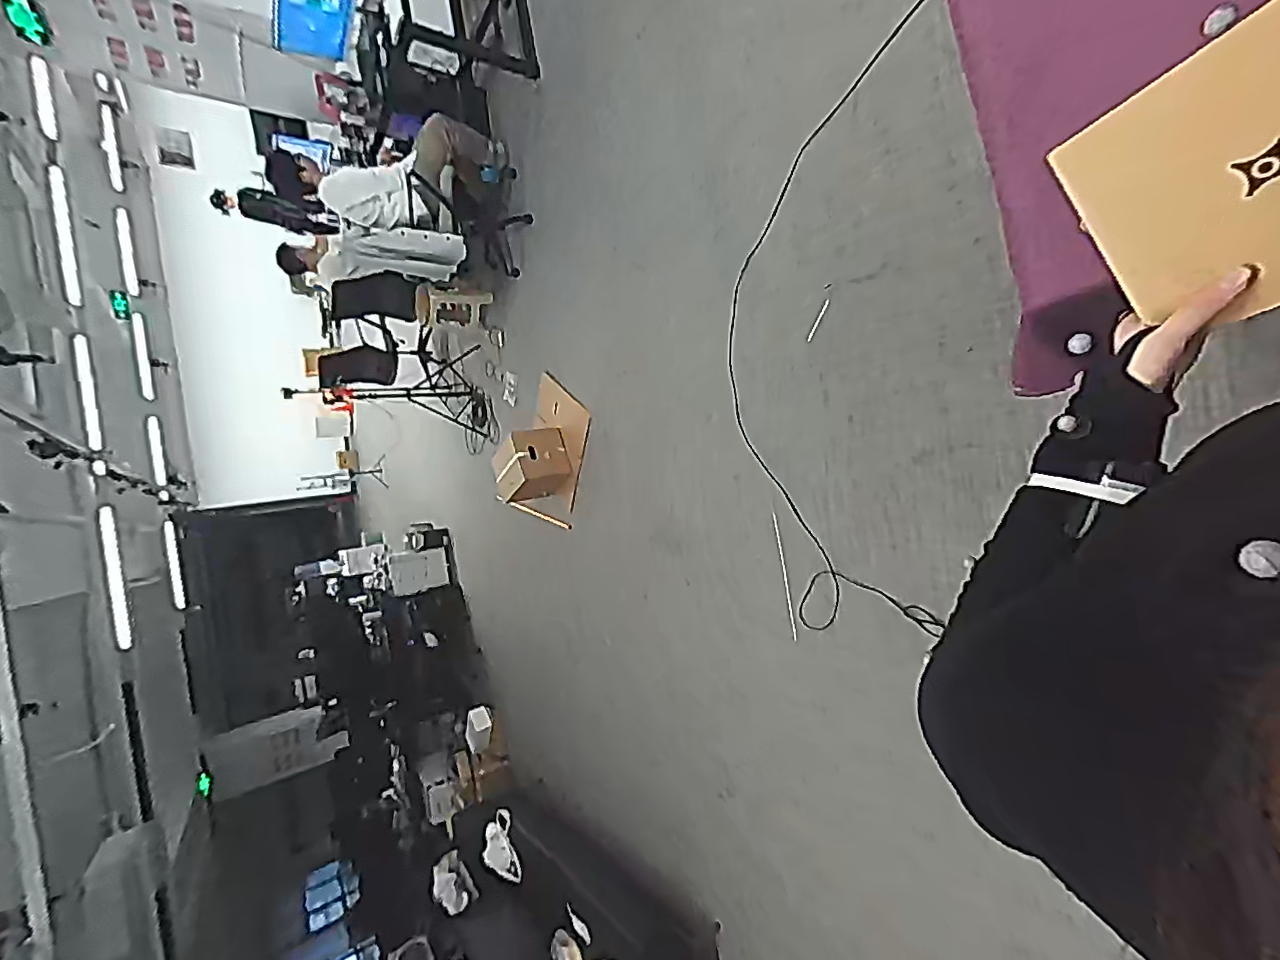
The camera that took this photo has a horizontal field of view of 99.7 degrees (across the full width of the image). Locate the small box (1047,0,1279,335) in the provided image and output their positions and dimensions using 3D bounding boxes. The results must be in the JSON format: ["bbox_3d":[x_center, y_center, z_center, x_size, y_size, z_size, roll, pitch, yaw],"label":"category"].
[{"bbox_3d":[0.439,-0.230,0.377,0.179,0.176,0.168,-29,90,53],"label":"small box"}]
